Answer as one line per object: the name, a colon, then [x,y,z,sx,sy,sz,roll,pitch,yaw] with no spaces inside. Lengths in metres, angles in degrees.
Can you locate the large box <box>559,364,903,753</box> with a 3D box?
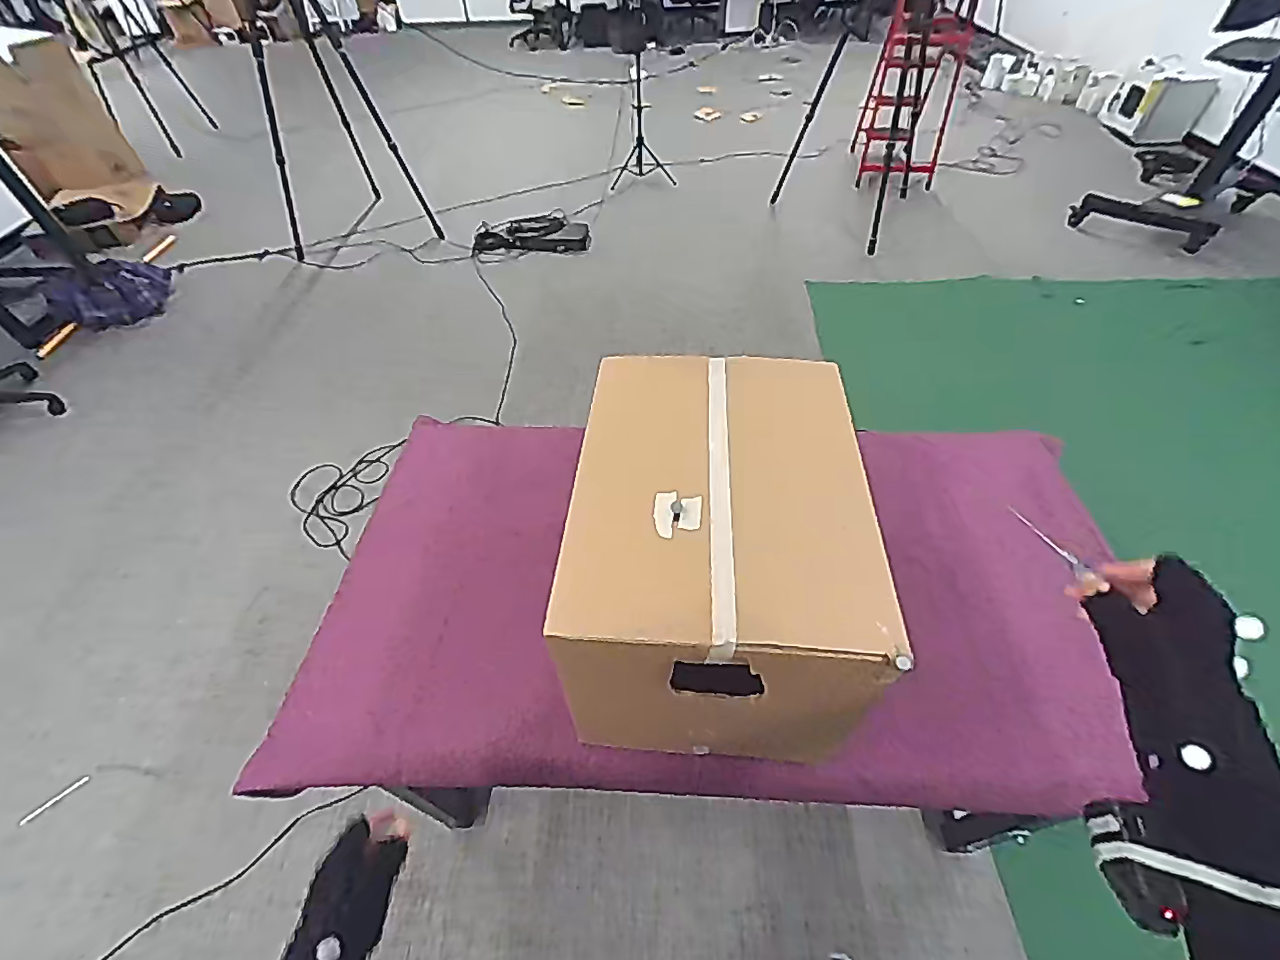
large box: [0.092,0.096,0.717,0.320,0.320,0.408,3,50,4]
